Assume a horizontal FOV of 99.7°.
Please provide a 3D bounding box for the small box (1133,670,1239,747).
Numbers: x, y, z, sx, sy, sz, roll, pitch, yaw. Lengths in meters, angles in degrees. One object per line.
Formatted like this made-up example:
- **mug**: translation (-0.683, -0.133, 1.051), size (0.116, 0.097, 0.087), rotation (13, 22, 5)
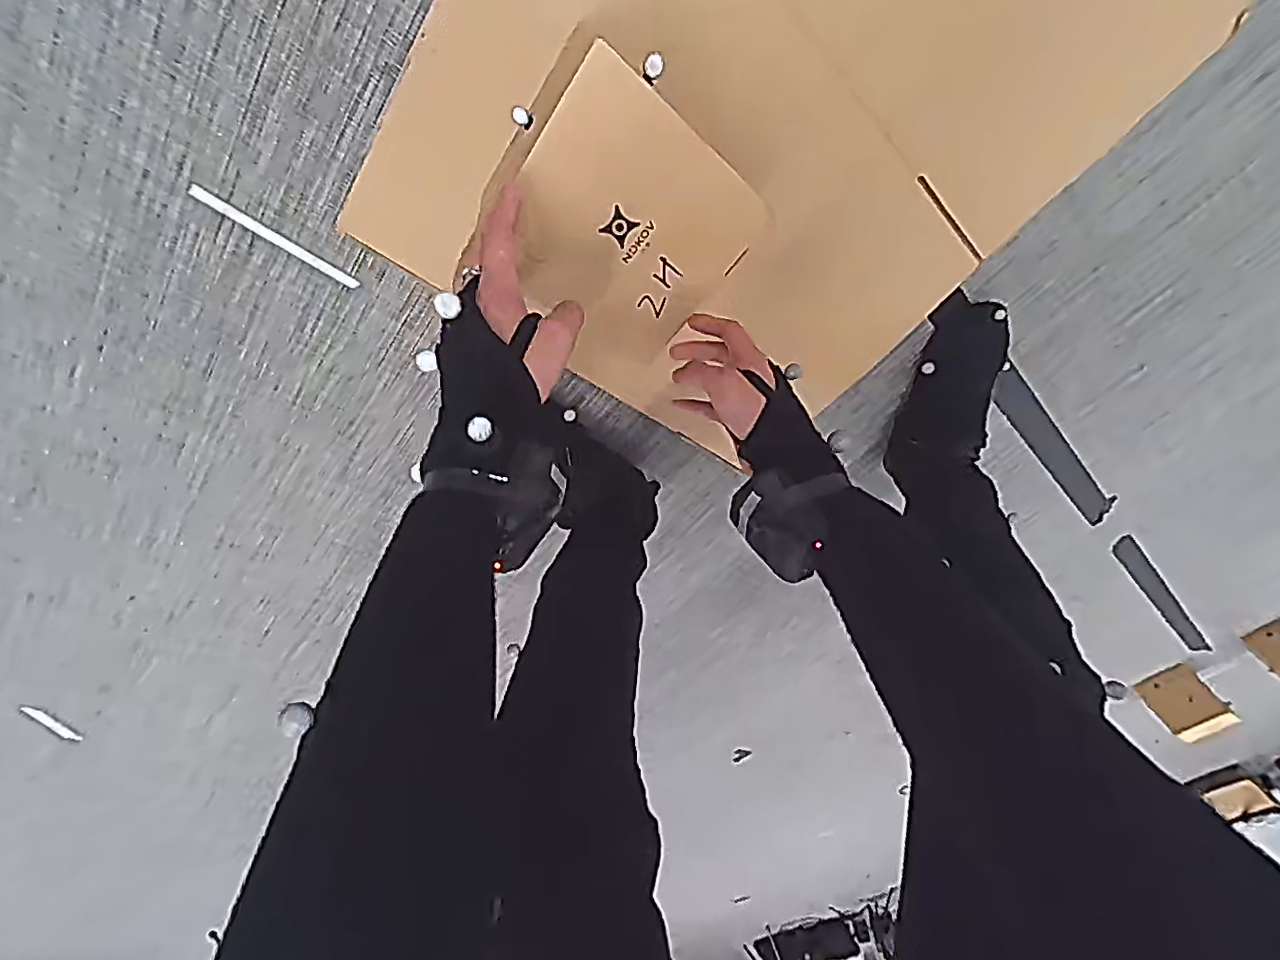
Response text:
- **small box**: translation (1.796, 0.752, 1.787), size (0.179, 0.176, 0.168), rotation (26, 121, -31)

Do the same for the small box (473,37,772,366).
- **small box**: translation (-0.024, -0.240, 0.473), size (0.179, 0.176, 0.168), rotation (27, 122, -31)
